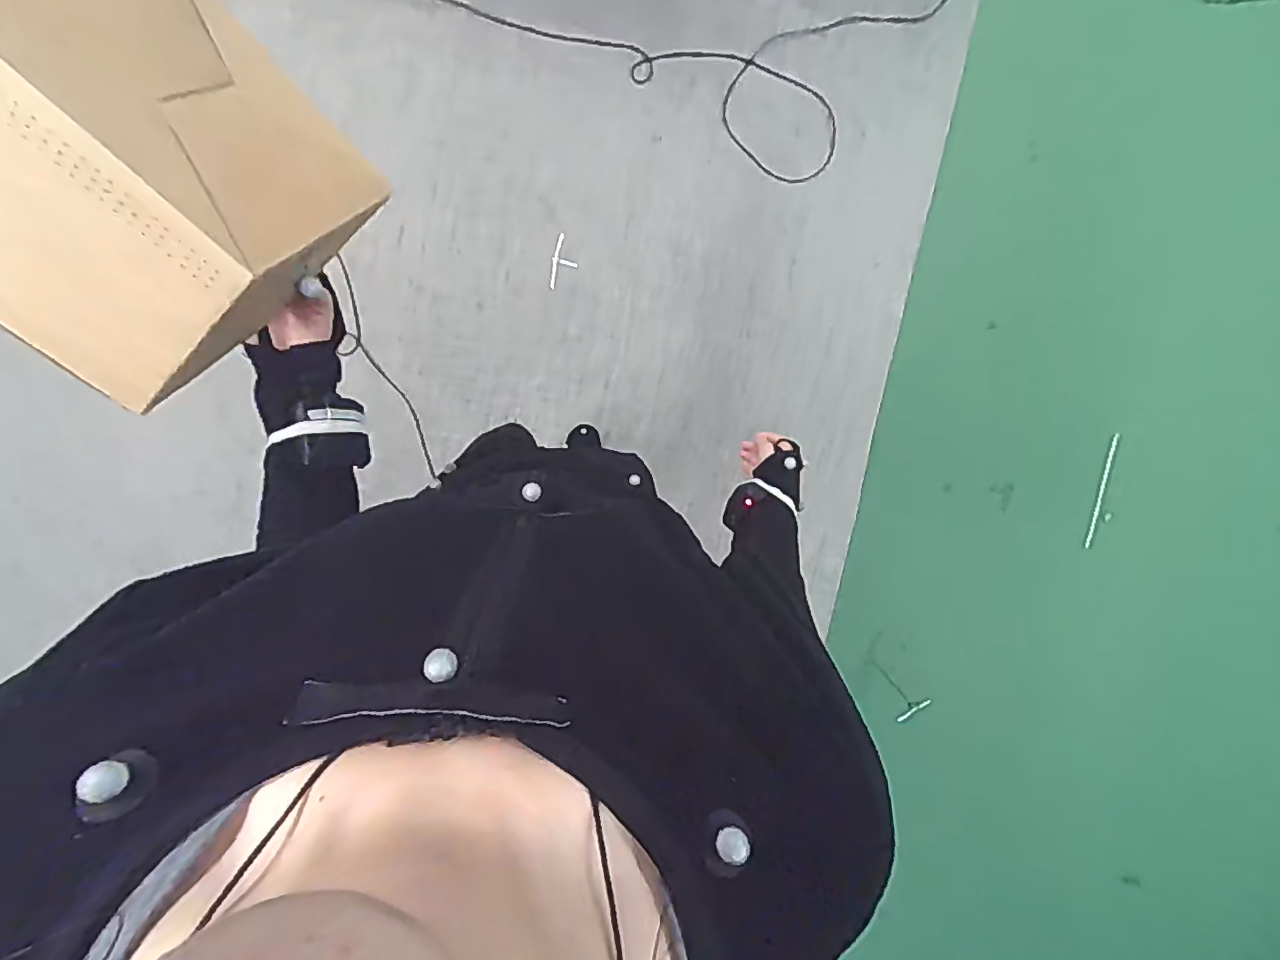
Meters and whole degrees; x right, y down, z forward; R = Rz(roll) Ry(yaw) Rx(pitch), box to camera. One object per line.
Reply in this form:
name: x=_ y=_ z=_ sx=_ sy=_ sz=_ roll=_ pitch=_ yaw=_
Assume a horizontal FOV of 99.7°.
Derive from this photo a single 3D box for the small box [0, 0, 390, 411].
small box: x=-0.301 y=-0.183 z=0.337 sx=0.176 sy=0.168 sz=0.179 roll=-26 pitch=124 yaw=28
